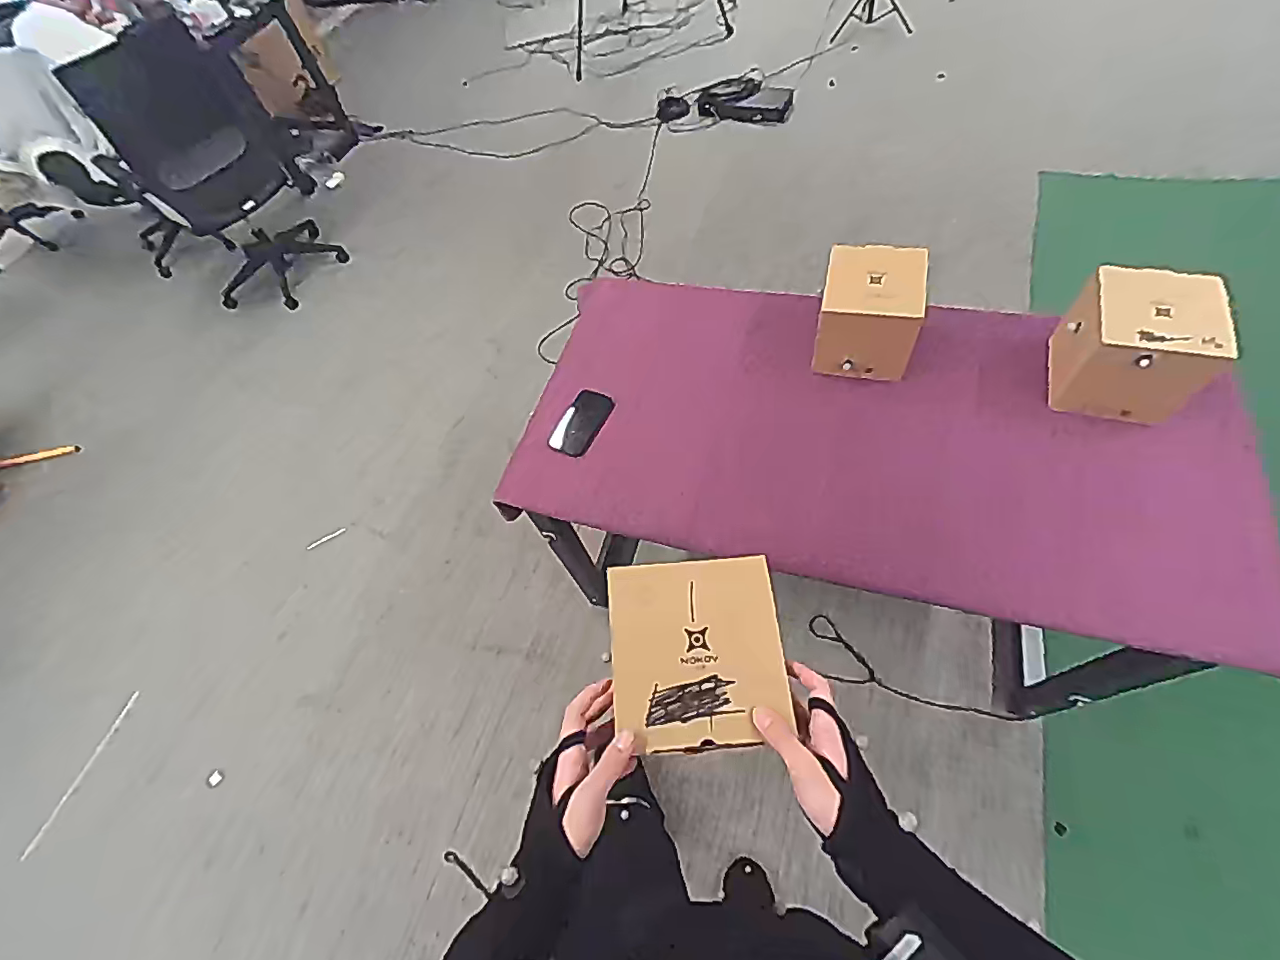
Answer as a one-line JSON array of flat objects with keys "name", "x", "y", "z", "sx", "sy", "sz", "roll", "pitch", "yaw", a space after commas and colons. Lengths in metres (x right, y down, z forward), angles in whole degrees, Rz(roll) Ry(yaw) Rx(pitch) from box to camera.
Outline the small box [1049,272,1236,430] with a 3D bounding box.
[{"name": "small box", "x": 0.806, "y": -0.211, "z": 0.891, "sx": 0.168, "sy": 0.176, "sz": 0.179, "roll": 13, "pitch": 62, "yaw": 18}]

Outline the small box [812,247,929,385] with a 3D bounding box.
[{"name": "small box", "x": 0.425, "y": -0.305, "z": 1.014, "sx": 0.168, "sy": 0.176, "sz": 0.179, "roll": 10, "pitch": 62, "yaw": 16}]

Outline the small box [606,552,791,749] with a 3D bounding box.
[{"name": "small box", "x": 0.052, "y": 0.189, "z": 0.588, "sx": 0.168, "sy": 0.176, "sz": 0.179, "roll": -3, "pitch": 64, "yaw": -1}]
